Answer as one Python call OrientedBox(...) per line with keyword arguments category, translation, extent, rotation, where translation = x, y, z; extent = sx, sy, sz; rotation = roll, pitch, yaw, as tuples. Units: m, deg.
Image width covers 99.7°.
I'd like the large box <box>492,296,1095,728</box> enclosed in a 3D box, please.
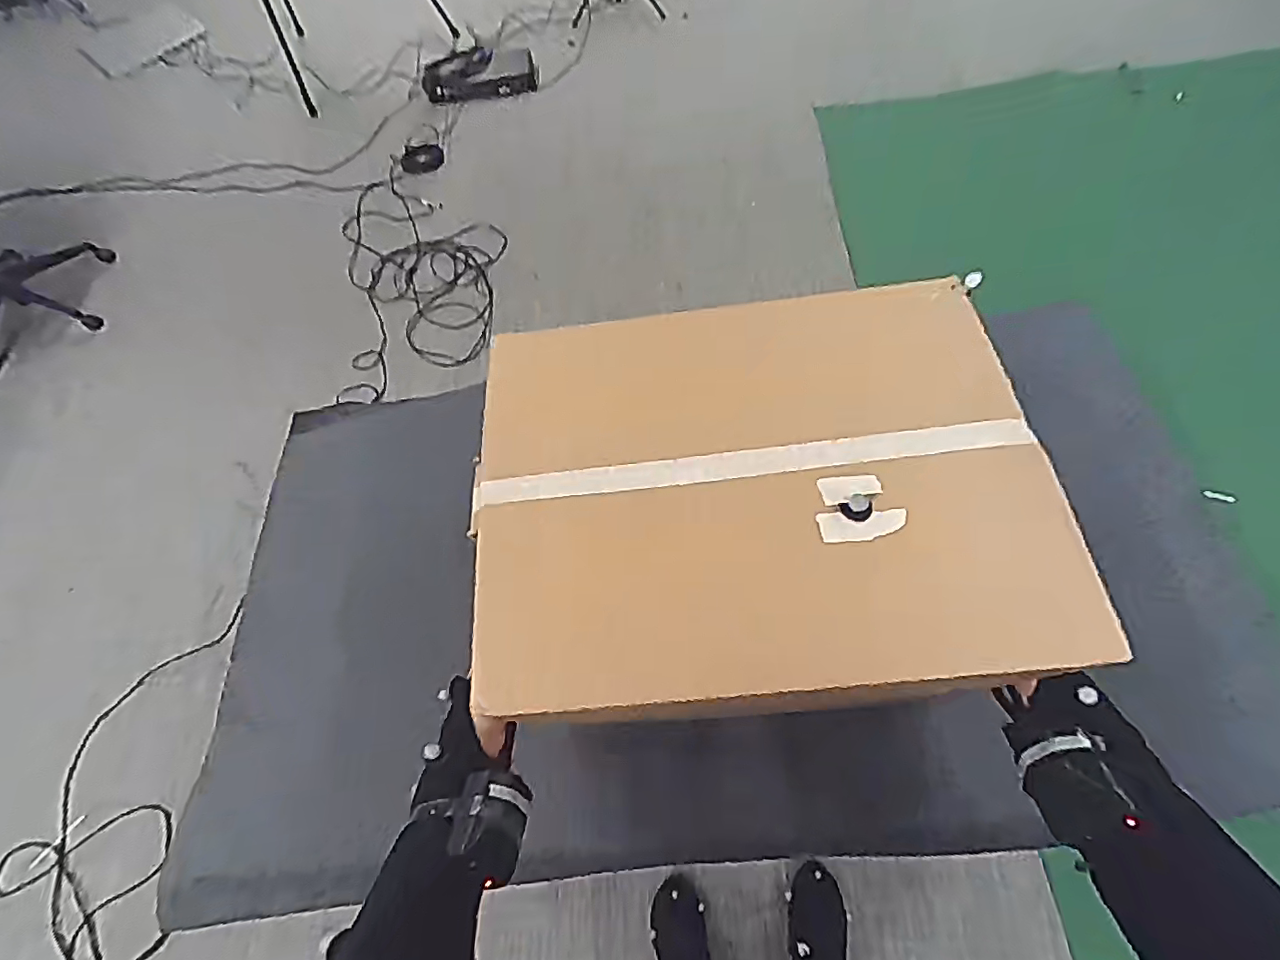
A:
OrientedBox(category="large box", translation=(0.095, 0.062, 0.550), extent=(0.408, 0.320, 0.320), rotation=(-6, 65, 3))
